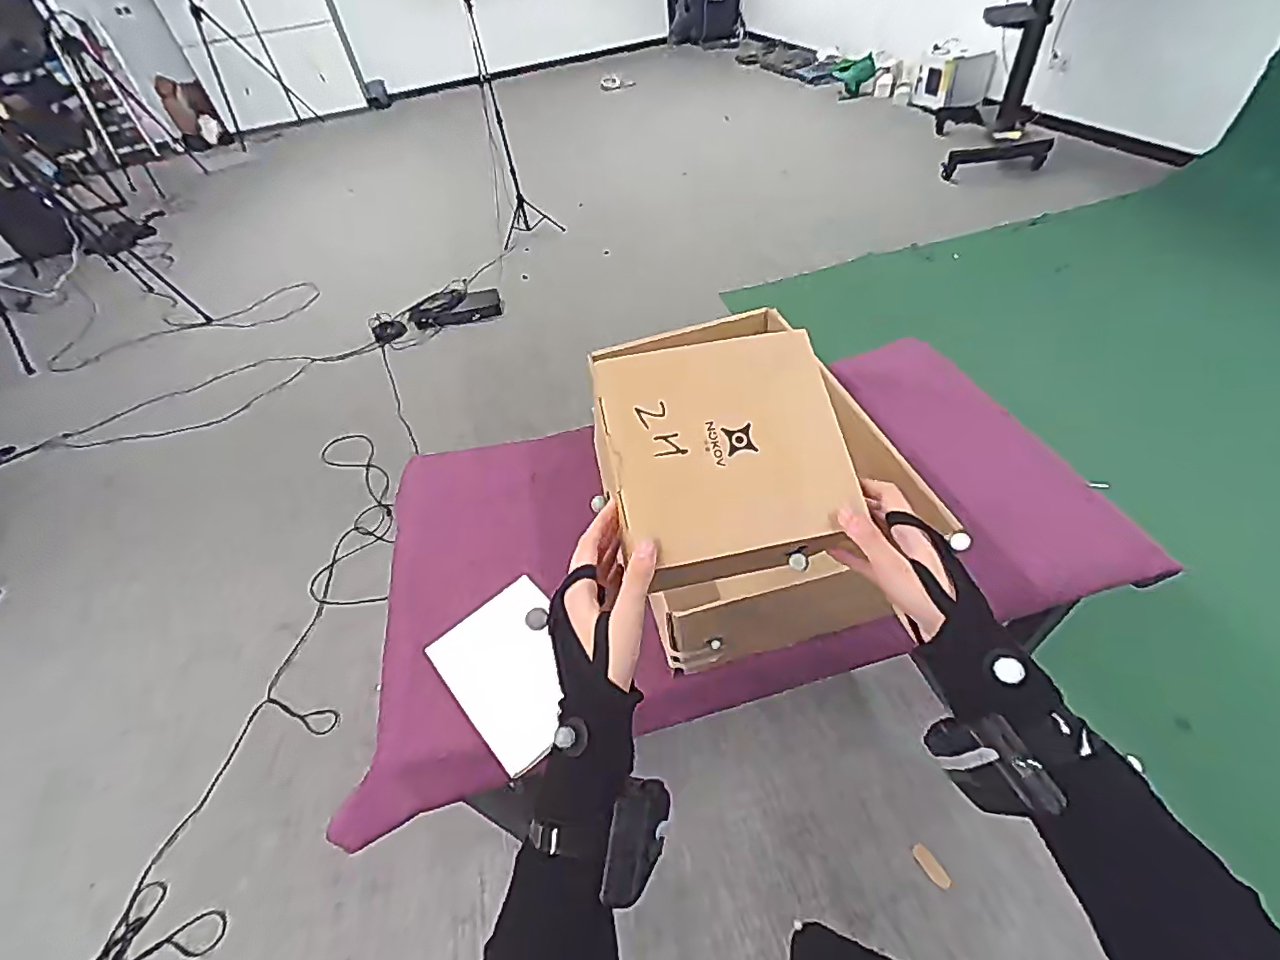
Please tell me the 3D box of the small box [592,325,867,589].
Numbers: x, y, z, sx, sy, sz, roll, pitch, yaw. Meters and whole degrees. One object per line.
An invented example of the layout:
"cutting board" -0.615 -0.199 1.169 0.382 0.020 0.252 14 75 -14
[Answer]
"small box" 0.057 -0.009 0.471 0.179 0.176 0.168 -10 72 -7
